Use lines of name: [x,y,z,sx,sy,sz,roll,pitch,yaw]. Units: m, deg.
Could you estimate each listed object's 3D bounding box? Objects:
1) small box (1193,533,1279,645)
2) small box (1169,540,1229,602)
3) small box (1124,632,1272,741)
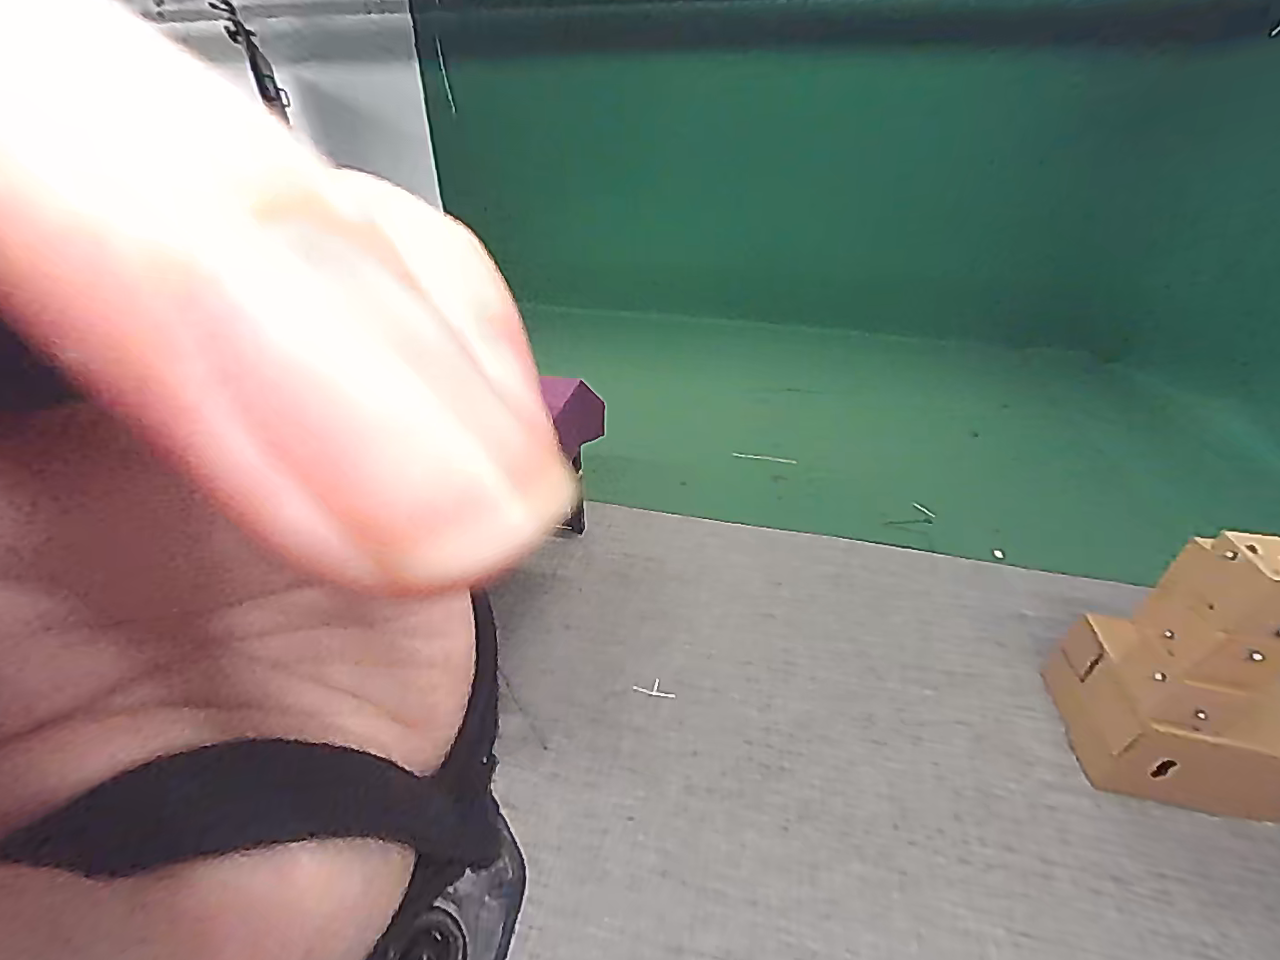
small box: [1.390,0.244,1.177,0.179,0.176,0.168,9,34,12]
small box: [1.579,0.286,1.428,0.168,0.176,0.179,9,32,8]
small box: [1.382,0.519,1.357,0.168,0.176,0.179,10,34,12]
